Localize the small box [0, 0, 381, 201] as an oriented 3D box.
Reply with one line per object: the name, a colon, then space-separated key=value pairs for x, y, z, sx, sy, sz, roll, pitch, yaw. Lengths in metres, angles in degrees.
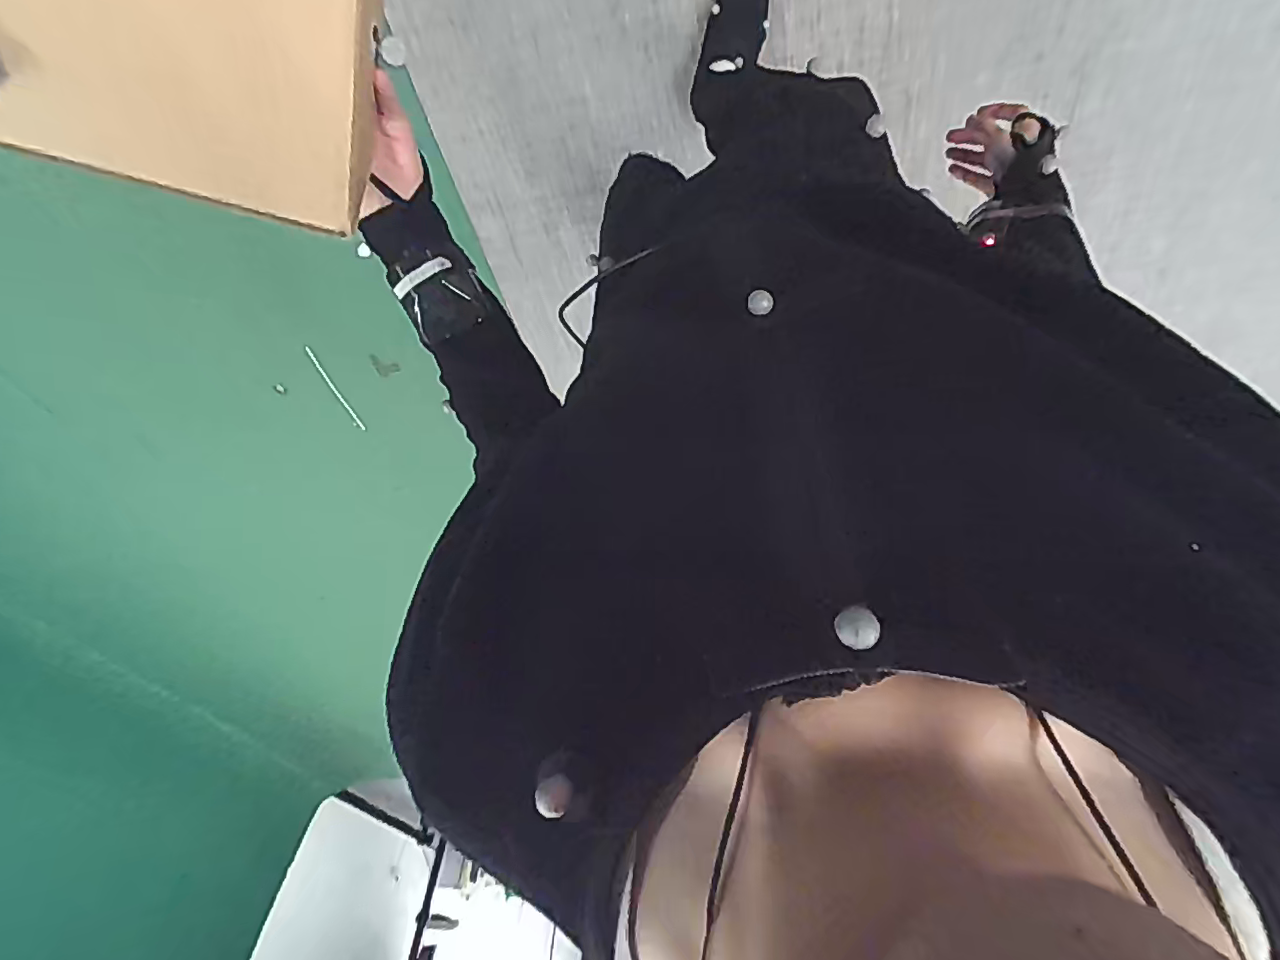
small box: x=-0.213 y=-0.264 z=0.241 sx=0.179 sy=0.168 sz=0.176 roll=7 pitch=130 yaw=-27
